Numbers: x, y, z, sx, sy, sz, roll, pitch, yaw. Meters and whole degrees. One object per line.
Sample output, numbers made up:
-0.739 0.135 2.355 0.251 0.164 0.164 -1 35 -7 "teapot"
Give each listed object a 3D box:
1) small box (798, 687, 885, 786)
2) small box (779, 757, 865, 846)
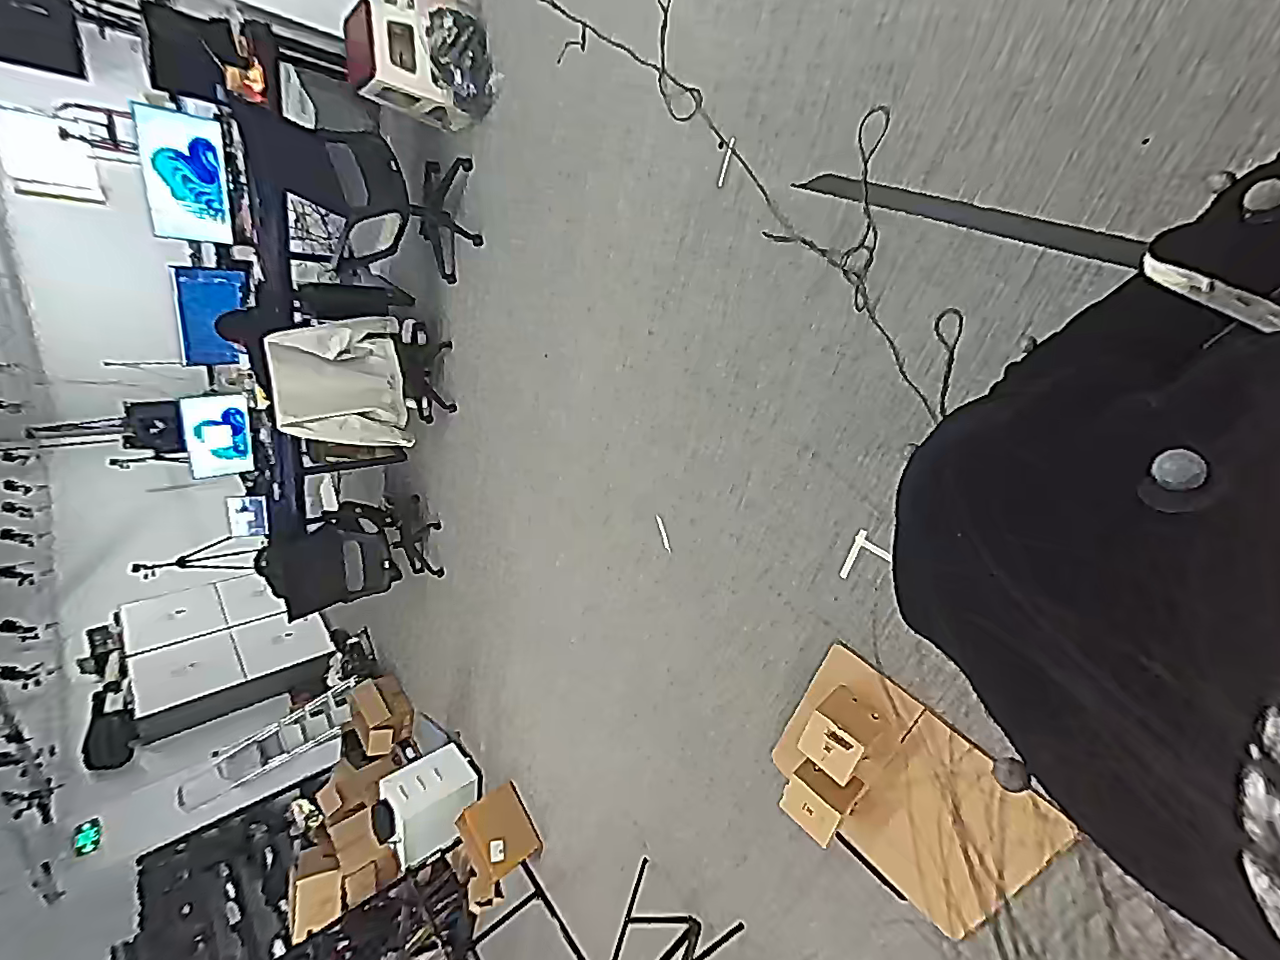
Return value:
0.613 0.767 1.636 0.168 0.176 0.179 33 123 37 "small box"
0.583 1.006 1.733 0.179 0.176 0.168 30 122 37 "small box"
